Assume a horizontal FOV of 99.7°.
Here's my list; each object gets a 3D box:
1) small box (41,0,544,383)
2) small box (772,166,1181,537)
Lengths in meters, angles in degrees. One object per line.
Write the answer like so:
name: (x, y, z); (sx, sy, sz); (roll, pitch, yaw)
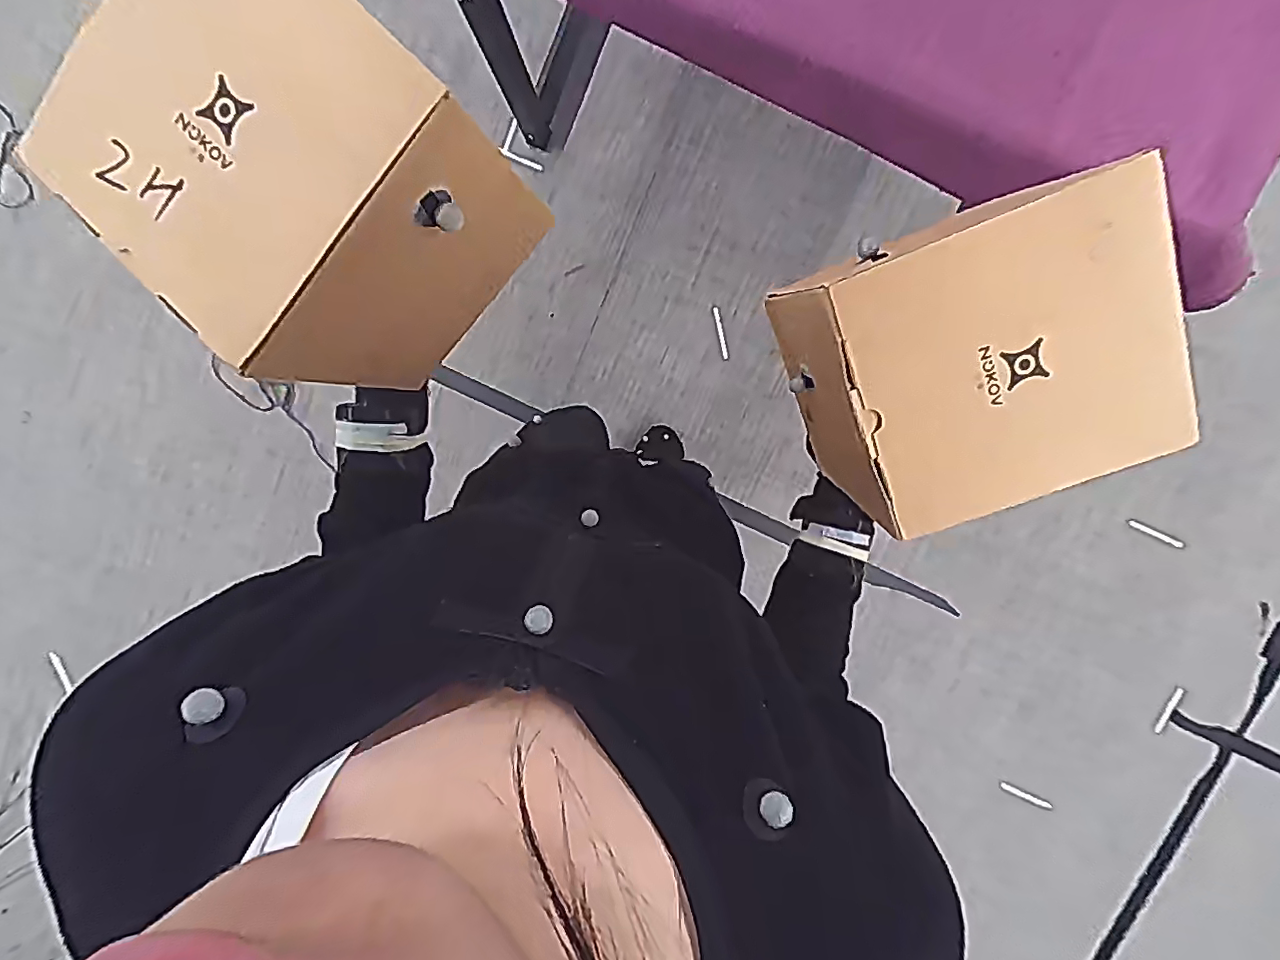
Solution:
small box: (-0.182, -0.180, 0.341); (0.168, 0.176, 0.179); (45, 101, 1)
small box: (0.215, -0.088, 0.388); (0.179, 0.176, 0.168); (-21, 105, 8)
